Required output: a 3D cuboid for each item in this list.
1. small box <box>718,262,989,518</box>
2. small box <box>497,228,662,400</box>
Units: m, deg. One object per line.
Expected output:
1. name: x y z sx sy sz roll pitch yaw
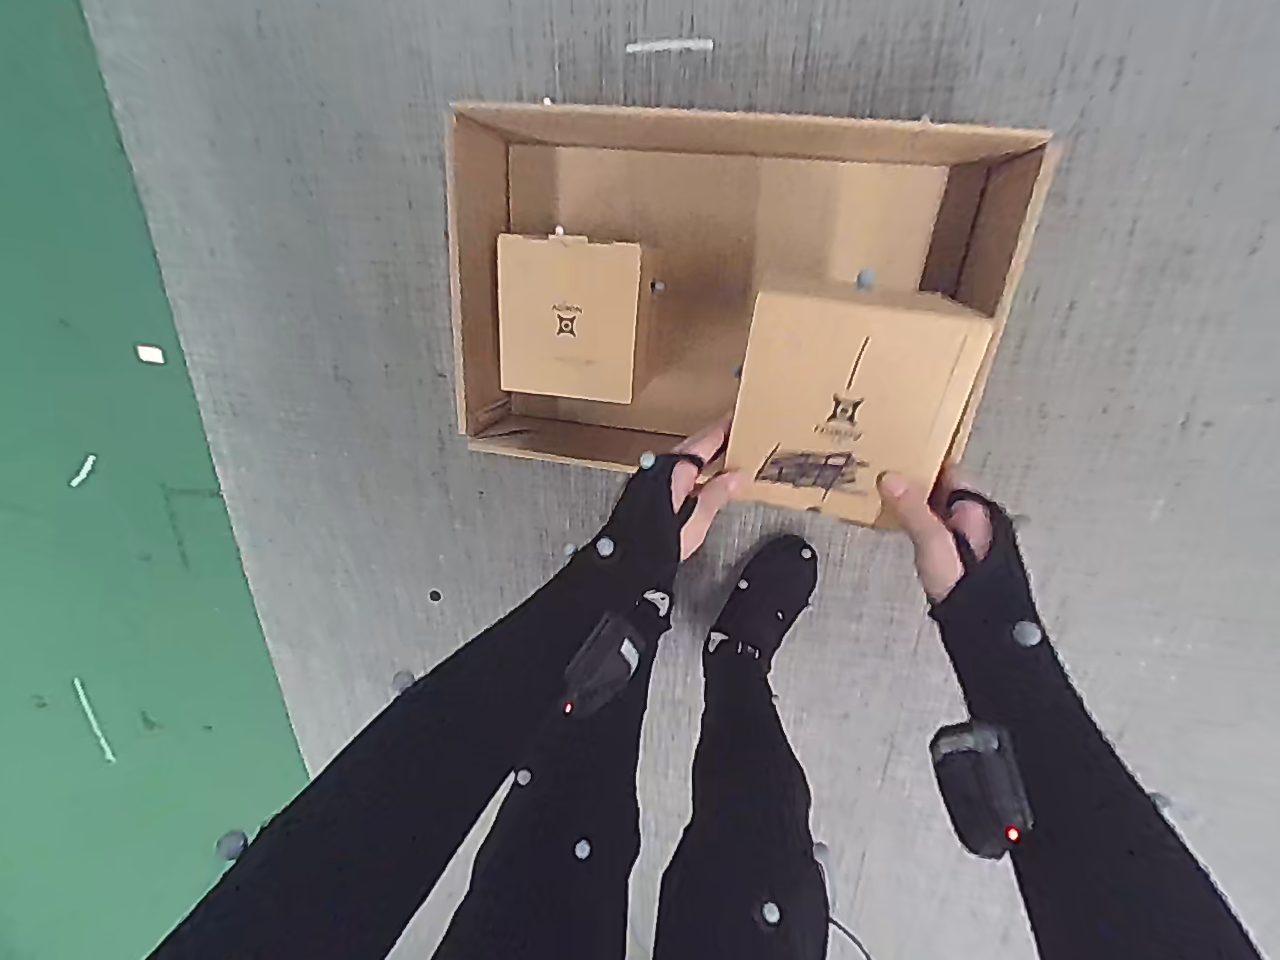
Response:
1. small box: 0.175 -0.093 0.493 0.168 0.176 0.179 11 116 10
2. small box: -0.069 -0.212 0.685 0.168 0.176 0.179 8 112 9
